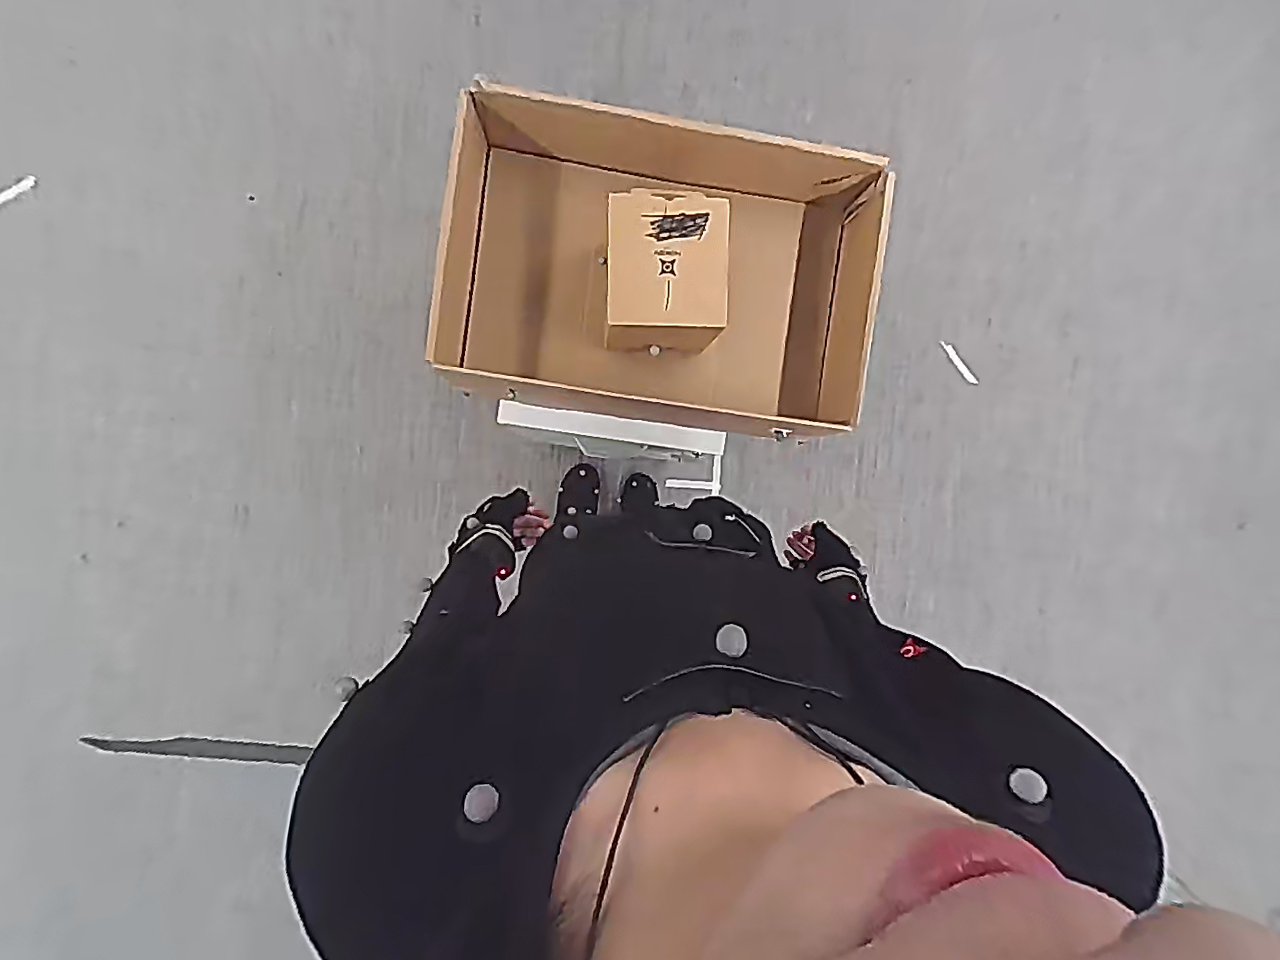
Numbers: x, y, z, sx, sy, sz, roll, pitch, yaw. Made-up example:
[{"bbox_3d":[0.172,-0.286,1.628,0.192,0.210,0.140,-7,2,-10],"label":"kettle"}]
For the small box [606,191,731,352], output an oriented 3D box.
[{"bbox_3d":[0.034,-0.297,0.804,0.168,0.176,0.179,0,92,-4],"label":"small box"}]
